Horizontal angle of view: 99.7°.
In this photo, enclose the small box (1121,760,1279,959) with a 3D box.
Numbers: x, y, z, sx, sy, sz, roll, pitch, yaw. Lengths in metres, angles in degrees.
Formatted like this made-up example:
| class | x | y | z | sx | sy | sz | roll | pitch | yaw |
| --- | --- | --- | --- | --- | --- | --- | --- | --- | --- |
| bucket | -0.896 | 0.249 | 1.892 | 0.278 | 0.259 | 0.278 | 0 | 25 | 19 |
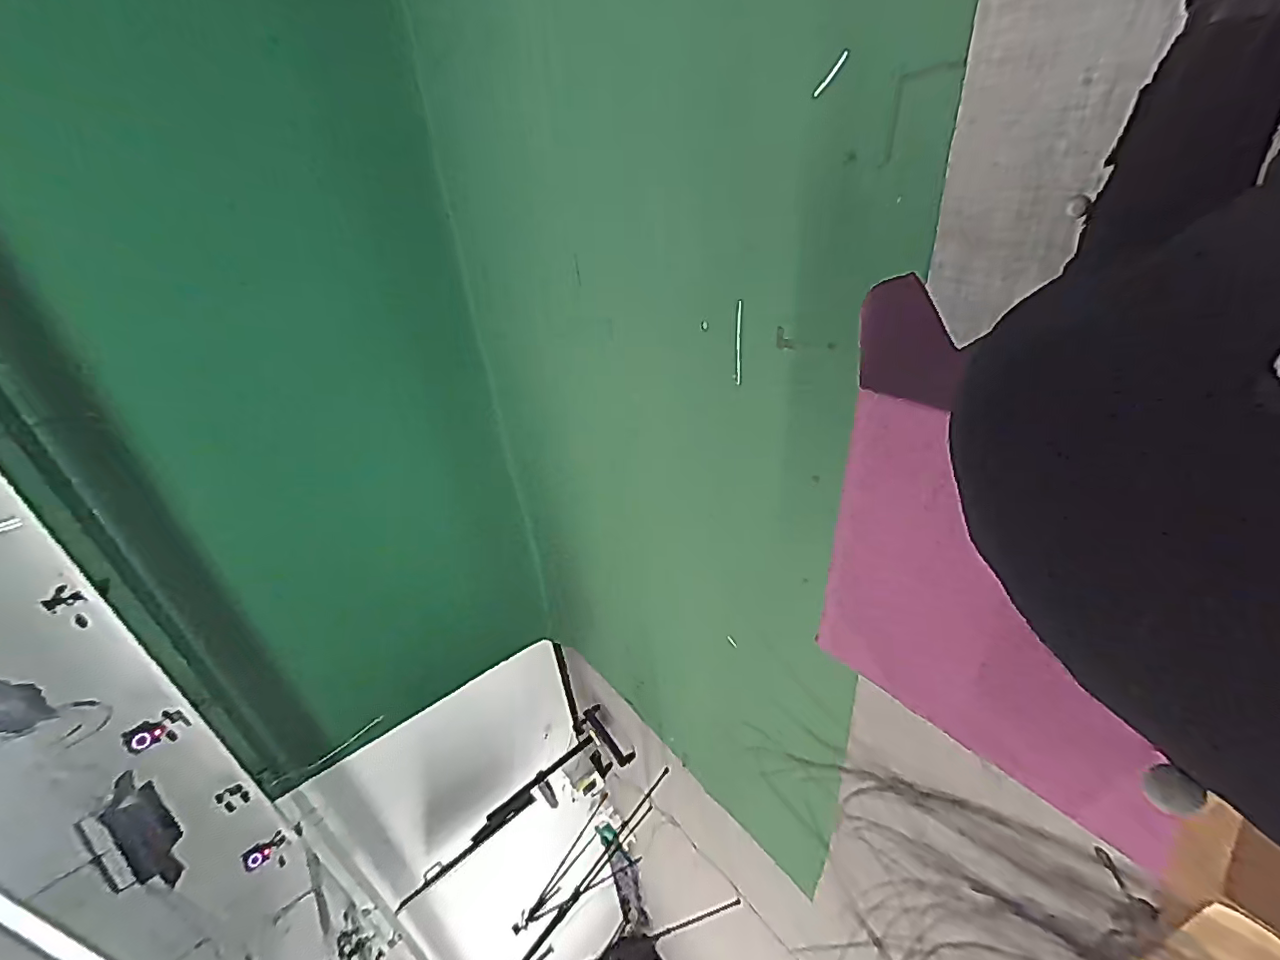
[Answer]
| class | x | y | z | sx | sy | sz | roll | pitch | yaw |
| --- | --- | --- | --- | --- | --- | --- | --- | --- | --- |
| small box | 0.559 | 0.384 | 0.448 | 0.168 | 0.176 | 0.179 | 32 | 136 | 42 |
